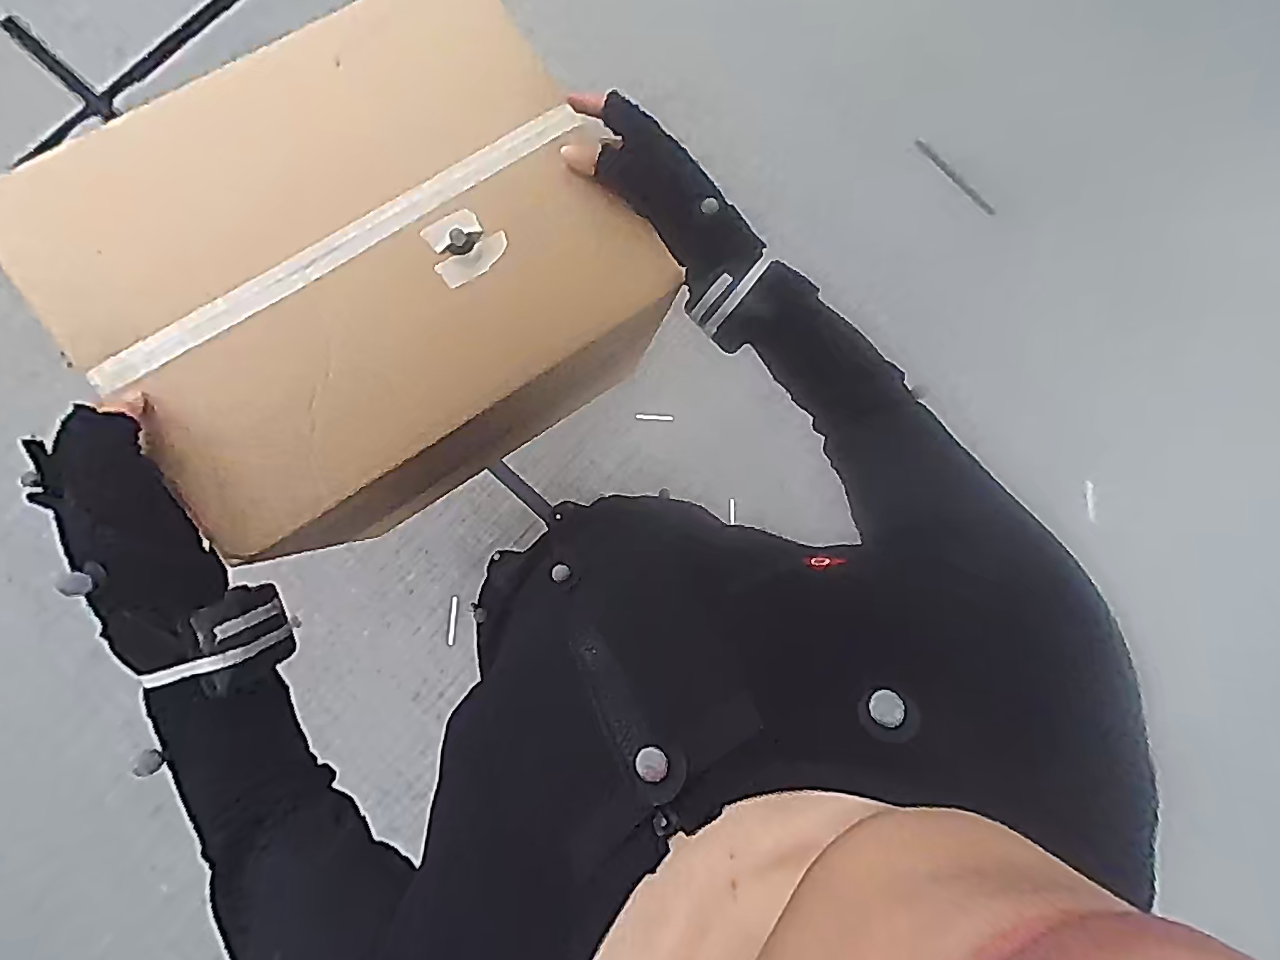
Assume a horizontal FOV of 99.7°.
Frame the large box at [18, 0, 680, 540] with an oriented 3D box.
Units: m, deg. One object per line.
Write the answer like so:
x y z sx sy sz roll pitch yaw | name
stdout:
-0.229 -0.180 0.569 0.408 0.320 0.320 -35 93 -9 | large box

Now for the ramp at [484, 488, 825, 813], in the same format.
0.092 0.521 1.581 0.991 0.206 0.509 40 81 -4 | ramp
